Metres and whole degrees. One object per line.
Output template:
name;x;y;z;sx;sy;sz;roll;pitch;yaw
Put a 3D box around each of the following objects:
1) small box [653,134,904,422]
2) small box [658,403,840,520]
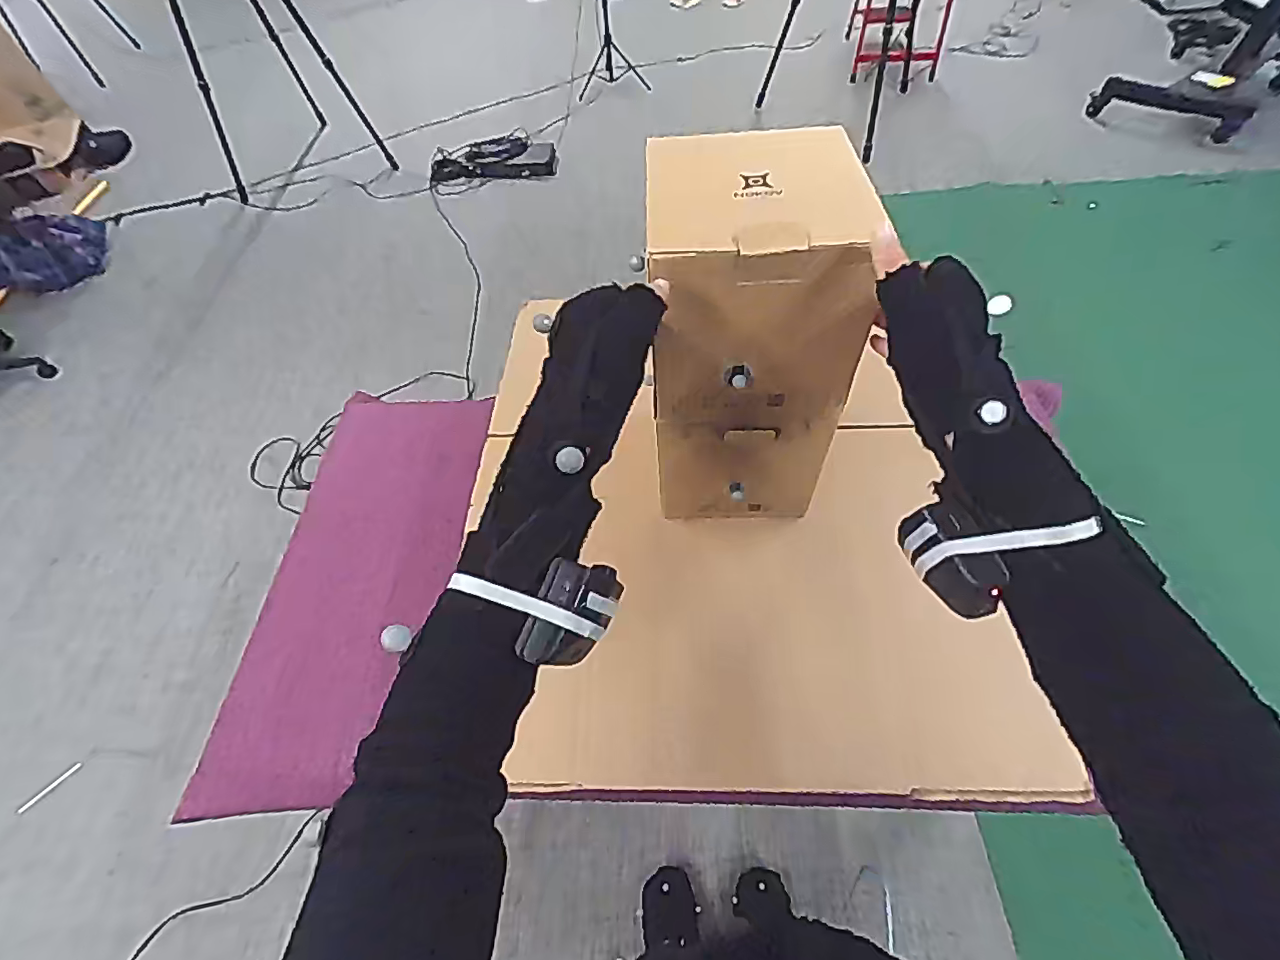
small box;0.095;-0.169;0.467;0.168;0.176;0.179;-2;55;2
small box;0.105;-0.074;0.600;0.168;0.176;0.179;-1;55;4
